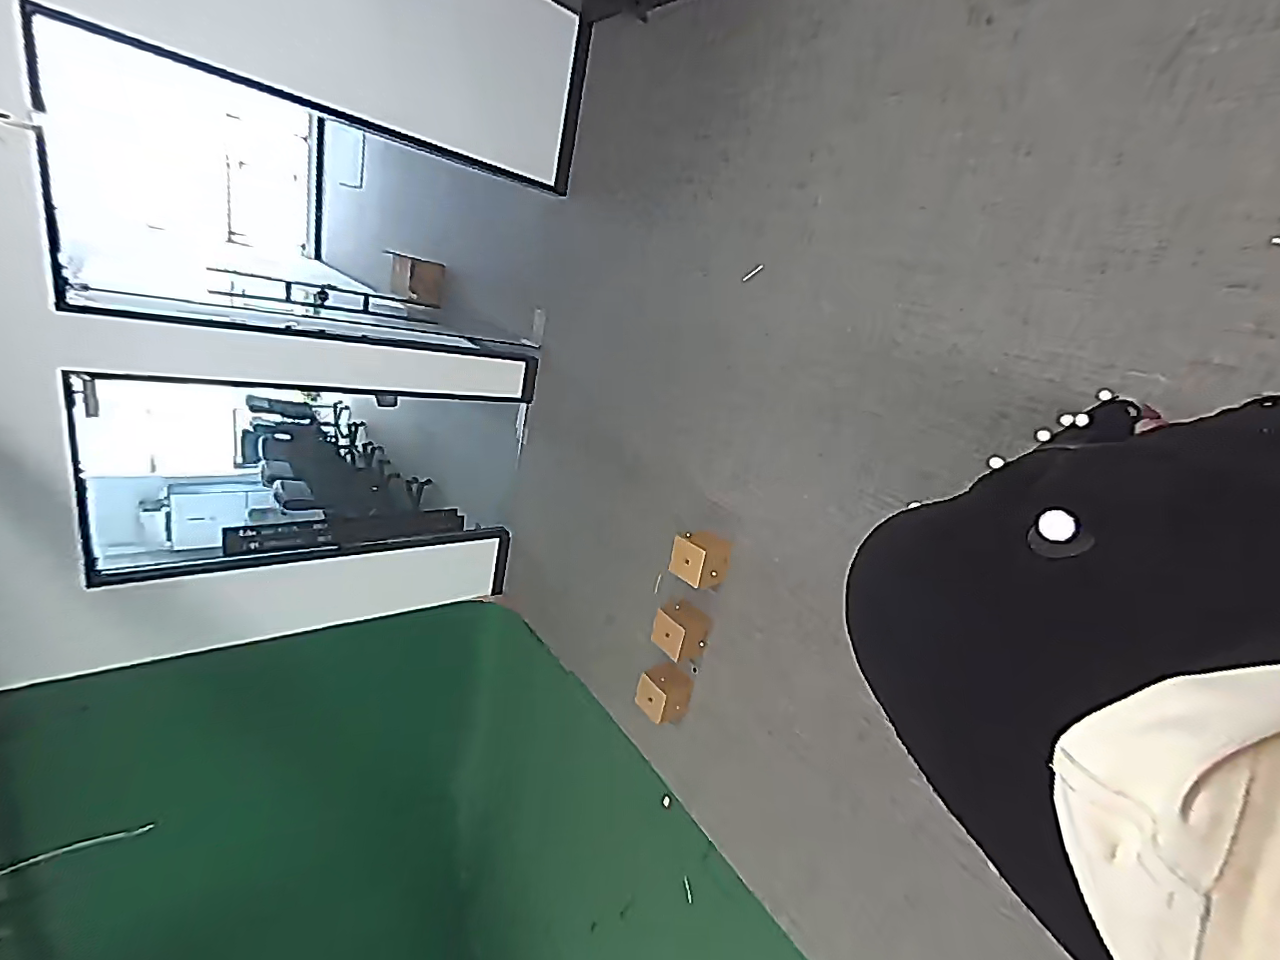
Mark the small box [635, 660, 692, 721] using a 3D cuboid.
[{"bbox_3d":[0.106,0.938,2.428,0.179,0.176,0.168,32,115,45],"label":"small box"}]

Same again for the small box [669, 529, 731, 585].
[{"bbox_3d":[0.249,0.309,2.221,0.179,0.176,0.168,28,113,46],"label":"small box"}]

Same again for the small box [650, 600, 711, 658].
[{"bbox_3d":[0.176,0.633,2.329,0.179,0.176,0.168,32,116,44],"label":"small box"}]
